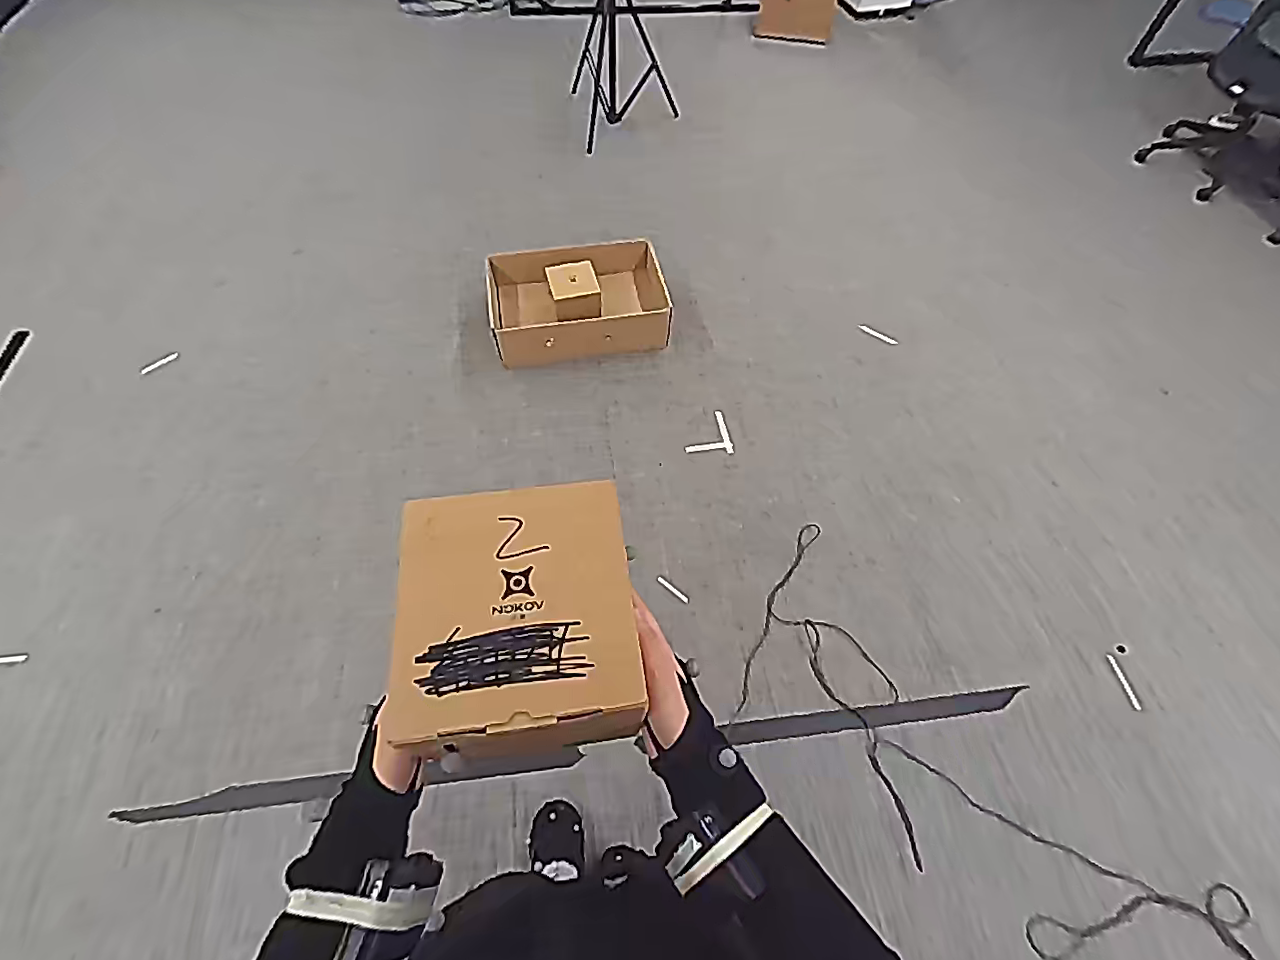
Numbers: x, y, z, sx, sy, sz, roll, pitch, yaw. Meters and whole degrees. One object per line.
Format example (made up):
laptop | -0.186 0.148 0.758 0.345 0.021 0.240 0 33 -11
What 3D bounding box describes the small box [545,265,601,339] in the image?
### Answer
small box | -0.241 -0.641 1.952 0.168 0.176 0.179 -14 61 -9
